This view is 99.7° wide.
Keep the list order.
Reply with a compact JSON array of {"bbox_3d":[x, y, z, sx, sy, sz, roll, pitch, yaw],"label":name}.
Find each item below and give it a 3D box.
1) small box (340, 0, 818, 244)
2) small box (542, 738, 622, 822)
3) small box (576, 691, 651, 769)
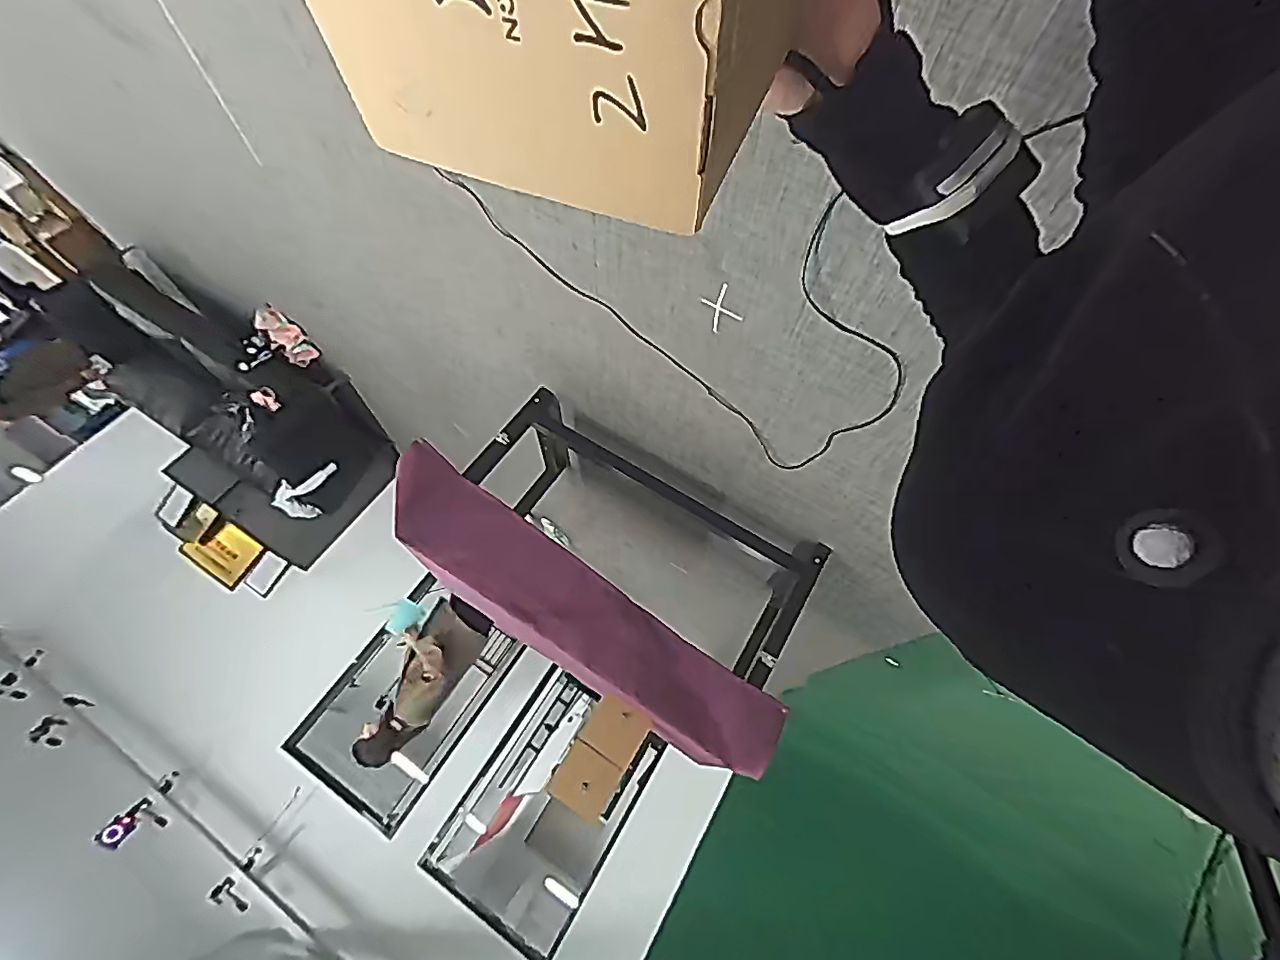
[{"bbox_3d":[-0.015,-0.244,0.229,0.179,0.176,0.168,21,158,9],"label":"small box"},{"bbox_3d":[-0.175,0.919,1.673,0.179,0.176,0.168,29,155,14],"label":"small box"},{"bbox_3d":[-0.084,0.799,1.739,0.179,0.176,0.168,30,156,15],"label":"small box"}]
